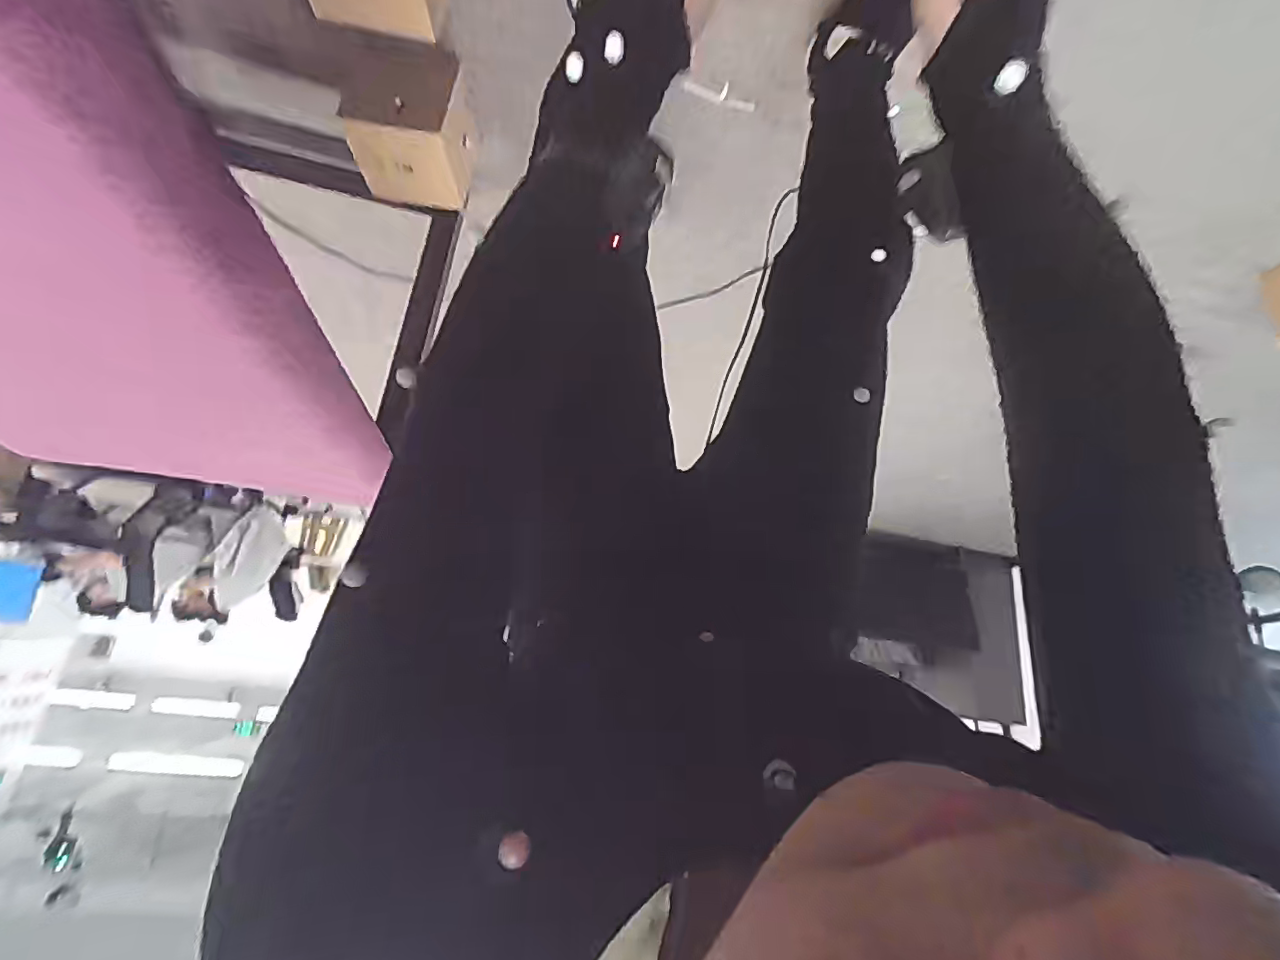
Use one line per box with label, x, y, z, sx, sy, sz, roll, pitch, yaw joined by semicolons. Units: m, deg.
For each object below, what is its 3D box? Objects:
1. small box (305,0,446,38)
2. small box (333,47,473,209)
small box;-0.337;-0.712;0.668;0.168;0.176;0.179;9;163;-5
small box;-0.406;-0.624;0.966;0.179;0.176;0.168;8;162;-3
